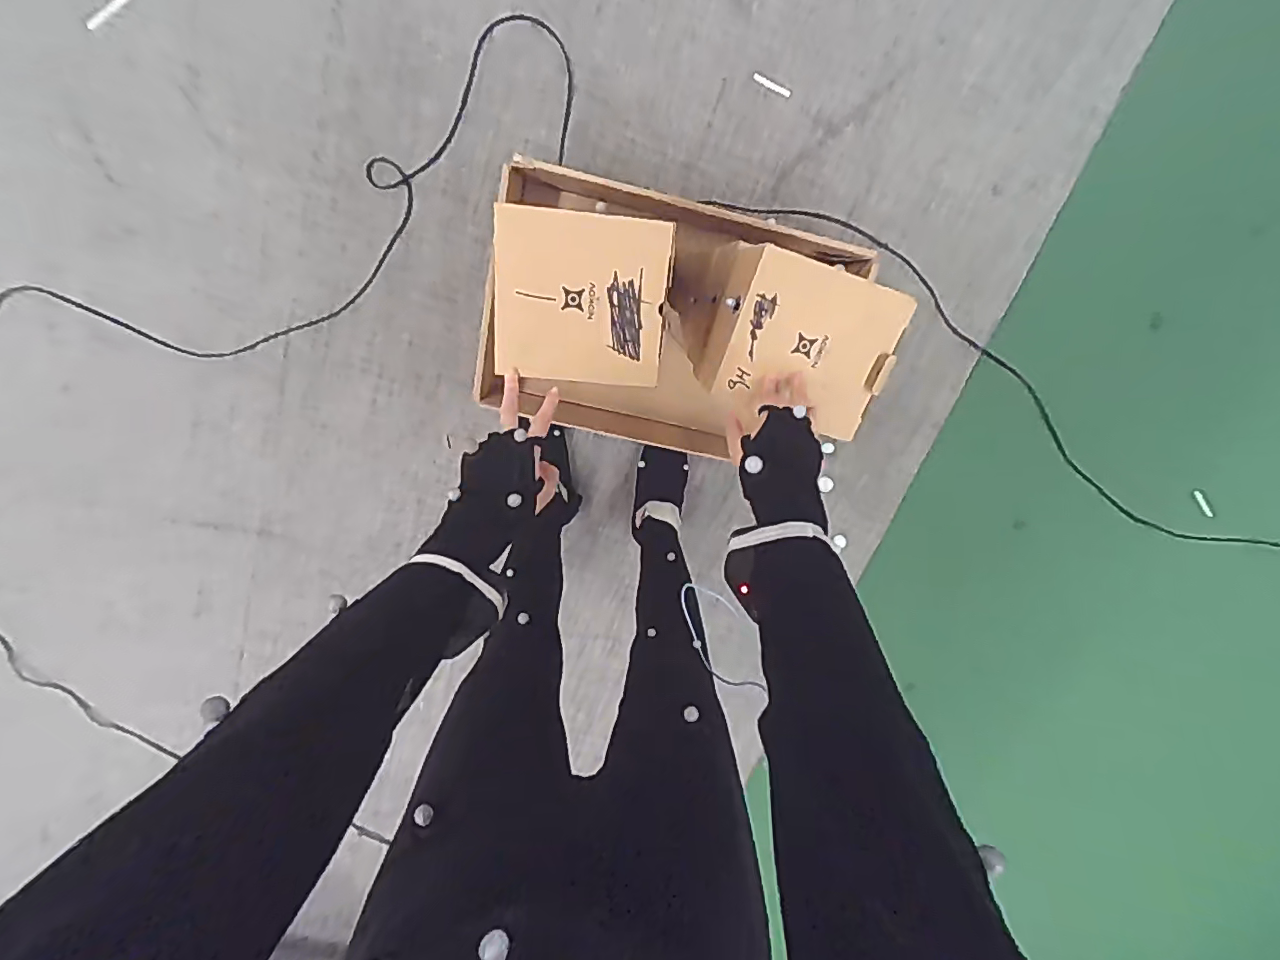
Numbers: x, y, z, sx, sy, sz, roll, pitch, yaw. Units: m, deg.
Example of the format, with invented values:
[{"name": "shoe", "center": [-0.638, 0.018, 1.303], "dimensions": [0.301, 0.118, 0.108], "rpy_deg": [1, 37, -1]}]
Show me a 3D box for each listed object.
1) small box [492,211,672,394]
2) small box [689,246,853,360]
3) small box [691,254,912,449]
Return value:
[{"name": "small box", "center": [-0.067, -0.204, 0.623], "dimensions": [0.179, 0.176, 0.168], "rpy_deg": [4, 111, -5]}, {"name": "small box", "center": [0.177, -0.228, 0.799], "dimensions": [0.168, 0.176, 0.179], "rpy_deg": [15, 110, -6]}, {"name": "small box", "center": [0.175, -0.159, 0.650], "dimensions": [0.179, 0.176, 0.168], "rpy_deg": [17, 109, -8]}]
